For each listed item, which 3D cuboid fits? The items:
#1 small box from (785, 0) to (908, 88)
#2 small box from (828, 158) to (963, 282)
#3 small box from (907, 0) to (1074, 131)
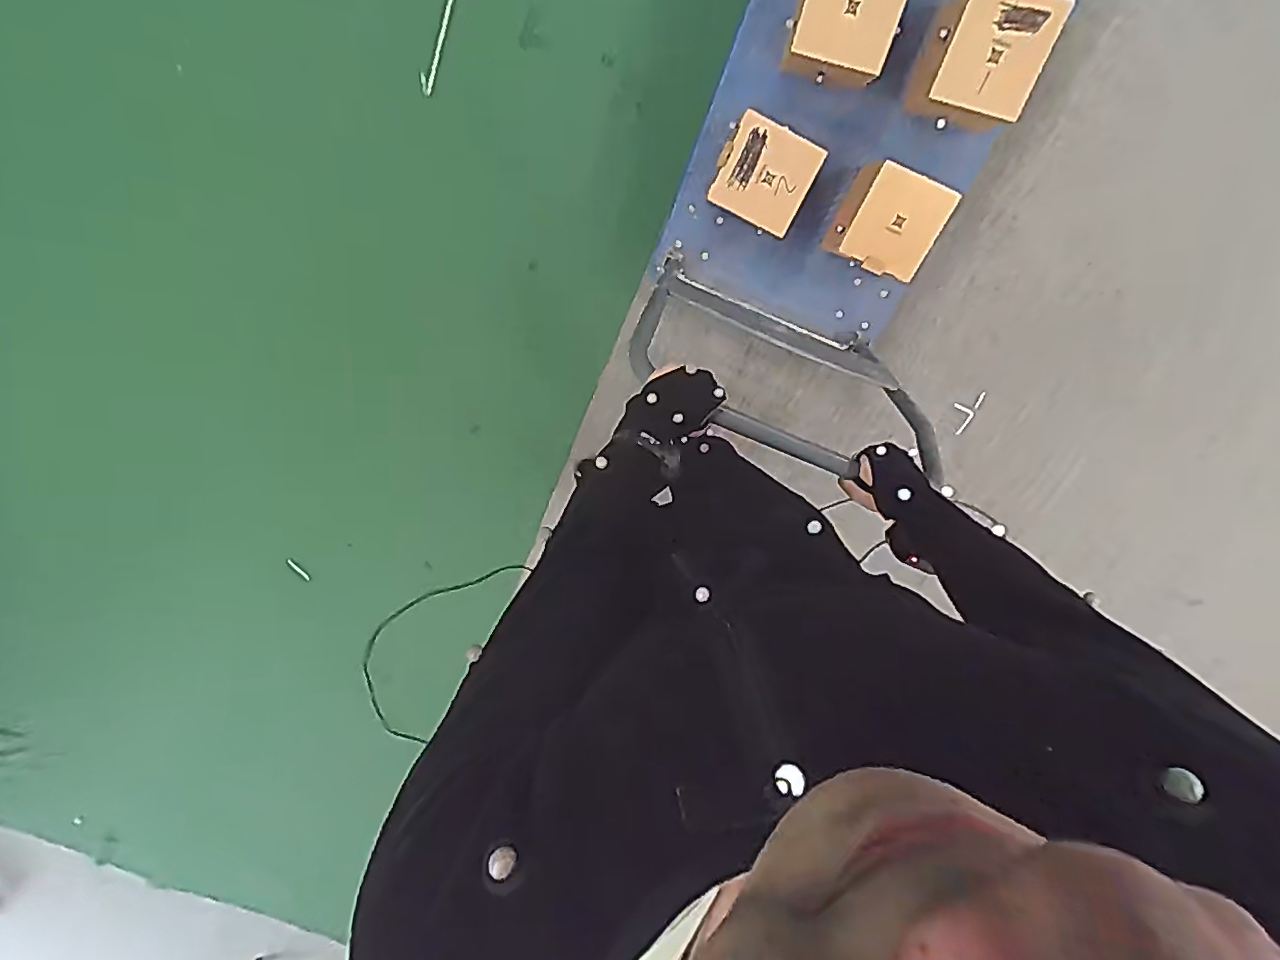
[{"bbox_3d":[0.374,-0.845,0.983,0.168,0.176,0.179,15,117,-2],"label":"small box"},{"bbox_3d":[0.515,-0.539,1.125,0.168,0.176,0.179,22,118,-5],"label":"small box"},{"bbox_3d":[0.624,-0.769,0.993,0.168,0.176,0.179,16,118,-1],"label":"small box"}]
